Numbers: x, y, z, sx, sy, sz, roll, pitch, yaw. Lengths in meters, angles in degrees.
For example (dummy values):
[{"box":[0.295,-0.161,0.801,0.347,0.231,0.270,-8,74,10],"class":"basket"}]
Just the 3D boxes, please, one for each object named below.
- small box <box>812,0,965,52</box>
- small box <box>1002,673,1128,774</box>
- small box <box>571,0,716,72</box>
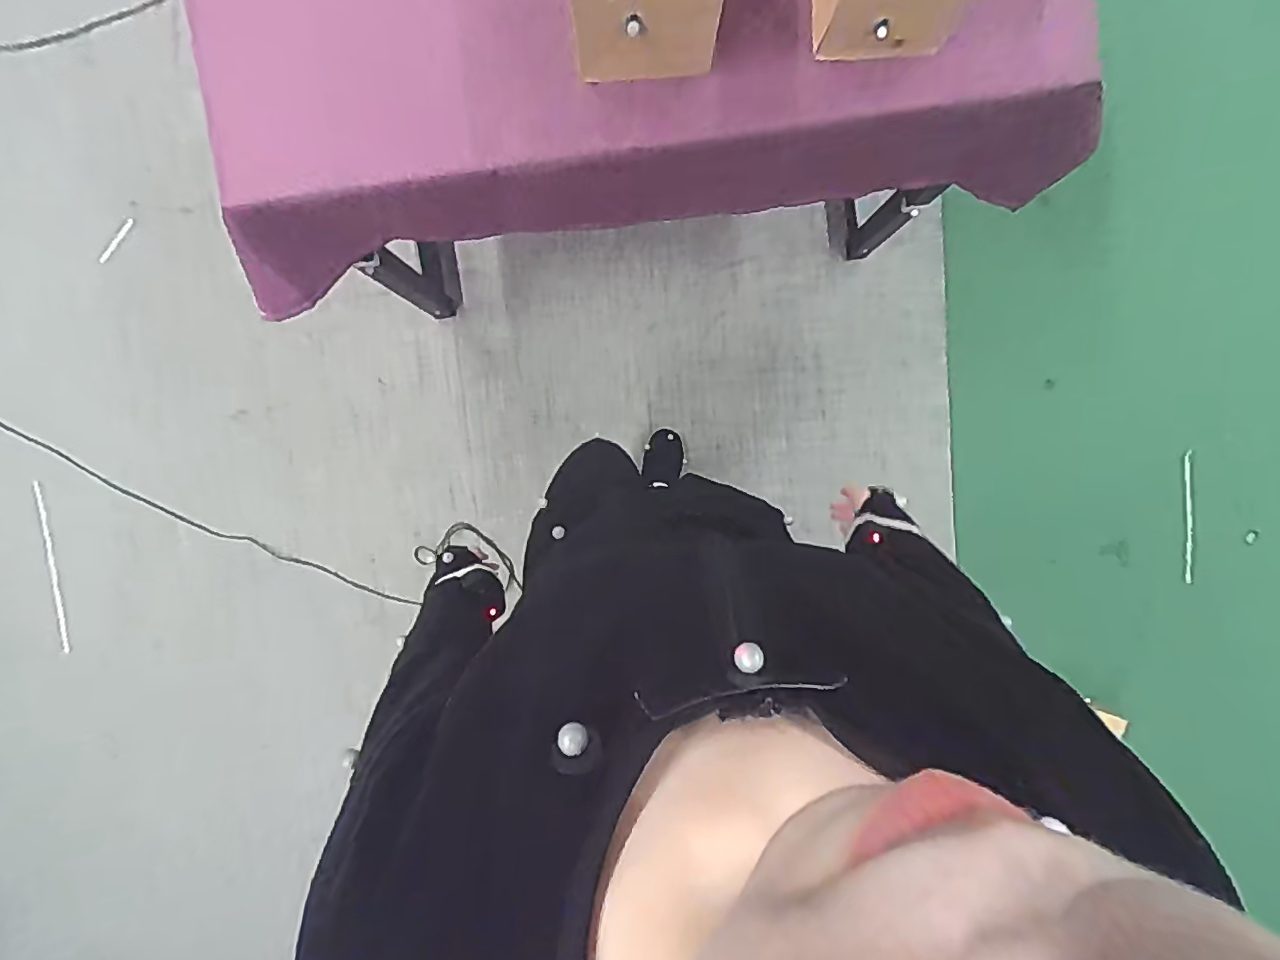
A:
[{"box":[0.311,-0.661,0.643,0.168,0.176,0.179,-3,94,0],"class":"small box"},{"box":[1.136,0.647,1.458,0.179,0.176,0.168,19,93,-2],"class":"small box"},{"box":[0.001,-0.625,0.643,0.179,0.176,0.168,-4,94,1],"class":"small box"}]
